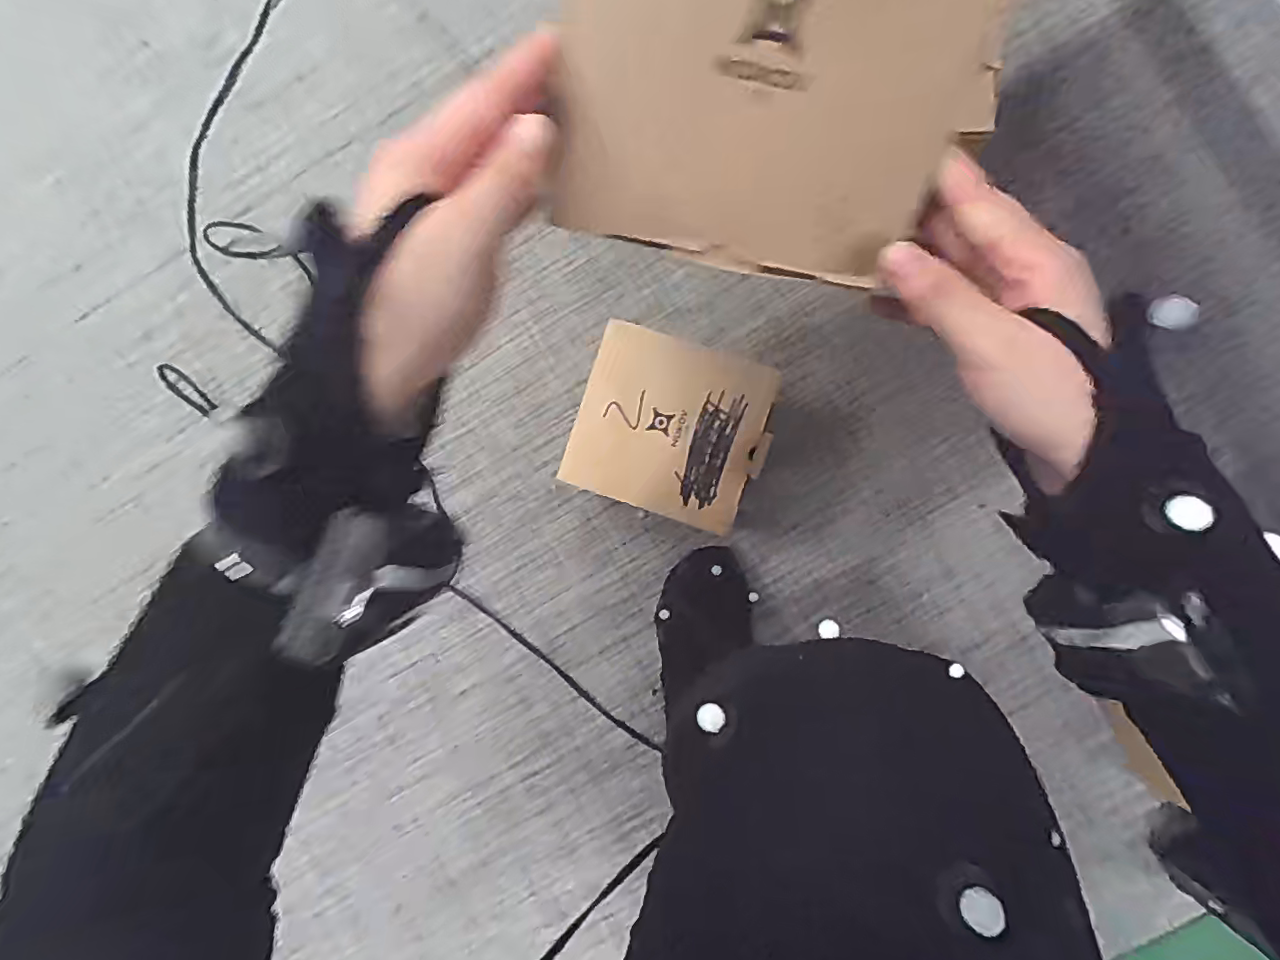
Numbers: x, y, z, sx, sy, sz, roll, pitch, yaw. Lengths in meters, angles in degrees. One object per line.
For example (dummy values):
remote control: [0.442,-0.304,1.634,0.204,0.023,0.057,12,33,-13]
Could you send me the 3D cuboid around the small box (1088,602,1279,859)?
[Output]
small box: [0.615,0.237,0.543,0.168,0.176,0.179,-25,89,3]
